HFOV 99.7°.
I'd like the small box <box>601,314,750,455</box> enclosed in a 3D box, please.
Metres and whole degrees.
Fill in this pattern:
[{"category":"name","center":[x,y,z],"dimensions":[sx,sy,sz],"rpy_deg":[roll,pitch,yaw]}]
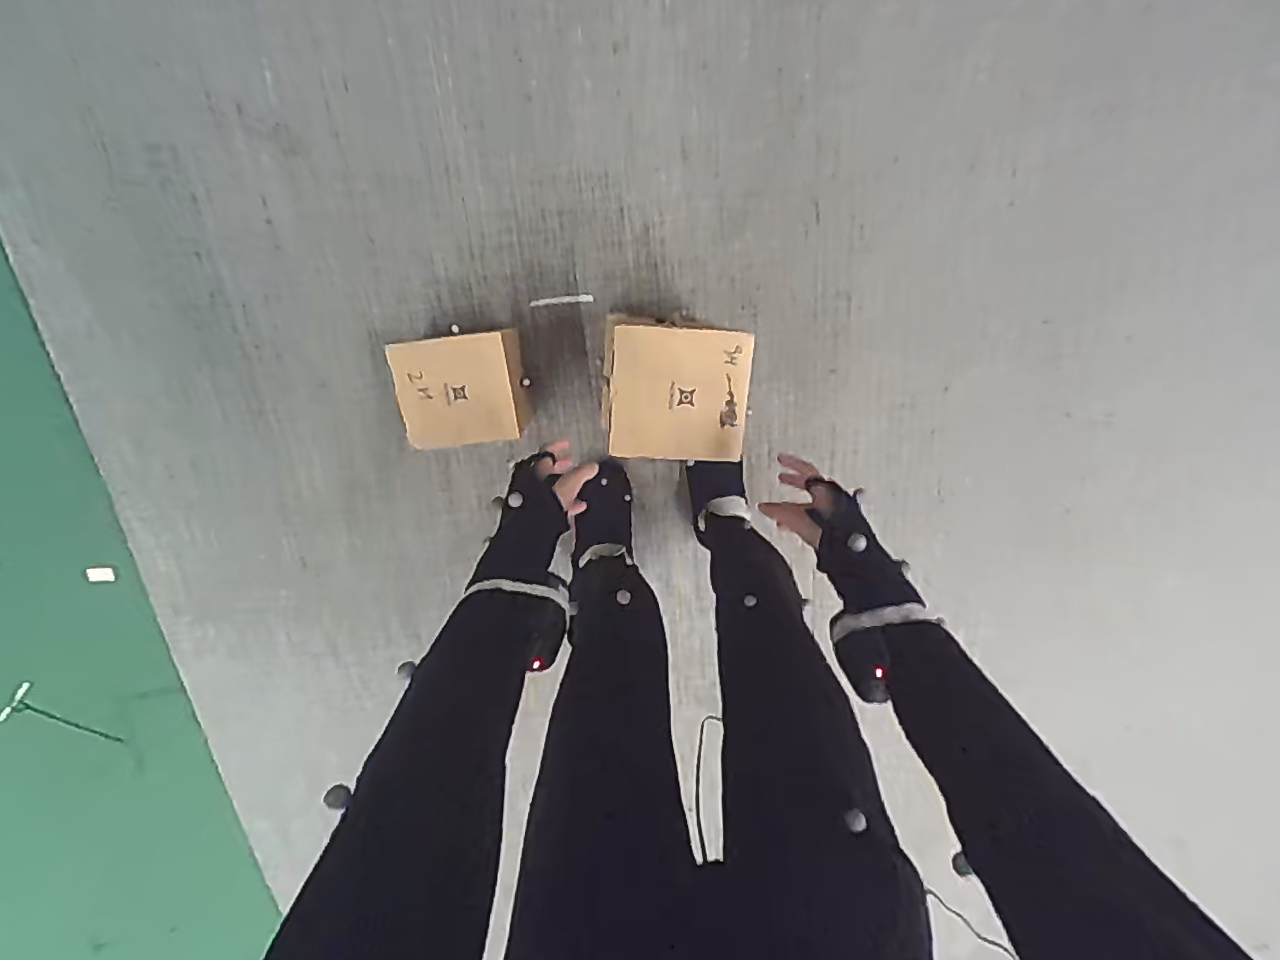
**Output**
[{"category":"small box","center":[0.040,-0.140,0.753],"dimensions":[0.179,0.176,0.168],"rpy_deg":[3,108,-4]}]

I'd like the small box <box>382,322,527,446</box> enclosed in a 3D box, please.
[{"category":"small box","center":[-0.291,-0.166,0.895],"dimensions":[0.179,0.176,0.168],"rpy_deg":[-7,109,-1]}]

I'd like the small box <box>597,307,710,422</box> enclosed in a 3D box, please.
[{"category":"small box","center":[0.014,-0.194,0.907],"dimensions":[0.168,0.176,0.179],"rpy_deg":[3,109,-4]}]
